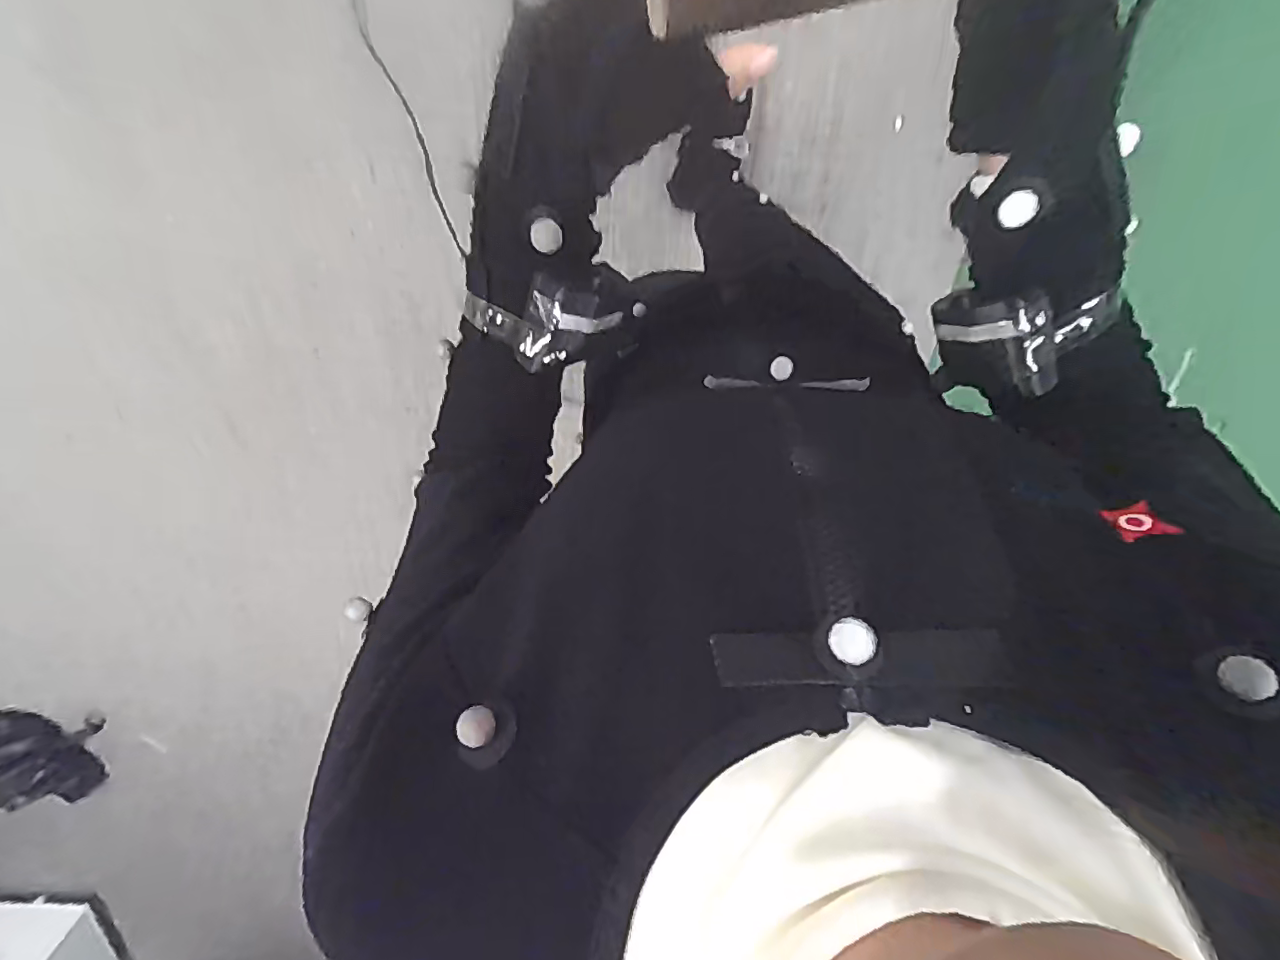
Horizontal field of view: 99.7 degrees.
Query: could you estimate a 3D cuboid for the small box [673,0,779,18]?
[{"bbox_3d":[0.080,-0.339,0.228,0.168,0.176,0.179,-10,110,5],"label":"small box"}]
